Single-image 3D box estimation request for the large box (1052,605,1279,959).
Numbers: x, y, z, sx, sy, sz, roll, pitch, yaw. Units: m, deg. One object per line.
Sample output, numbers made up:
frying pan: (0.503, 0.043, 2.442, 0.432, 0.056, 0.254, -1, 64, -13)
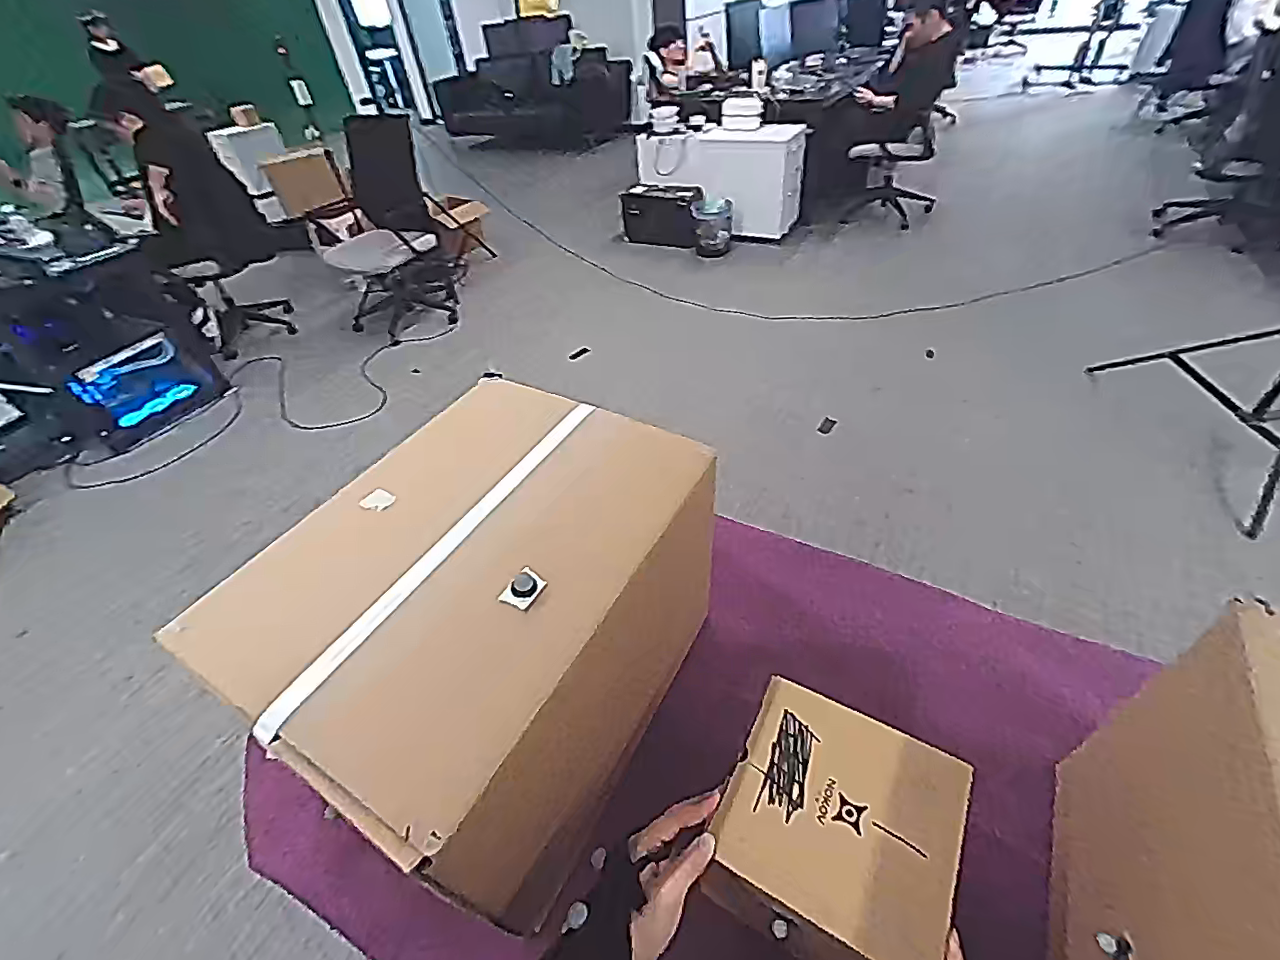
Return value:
large box: (0.463, 0.359, 0.294, 0.320, 0.320, 0.408, 18, 47, 24)
